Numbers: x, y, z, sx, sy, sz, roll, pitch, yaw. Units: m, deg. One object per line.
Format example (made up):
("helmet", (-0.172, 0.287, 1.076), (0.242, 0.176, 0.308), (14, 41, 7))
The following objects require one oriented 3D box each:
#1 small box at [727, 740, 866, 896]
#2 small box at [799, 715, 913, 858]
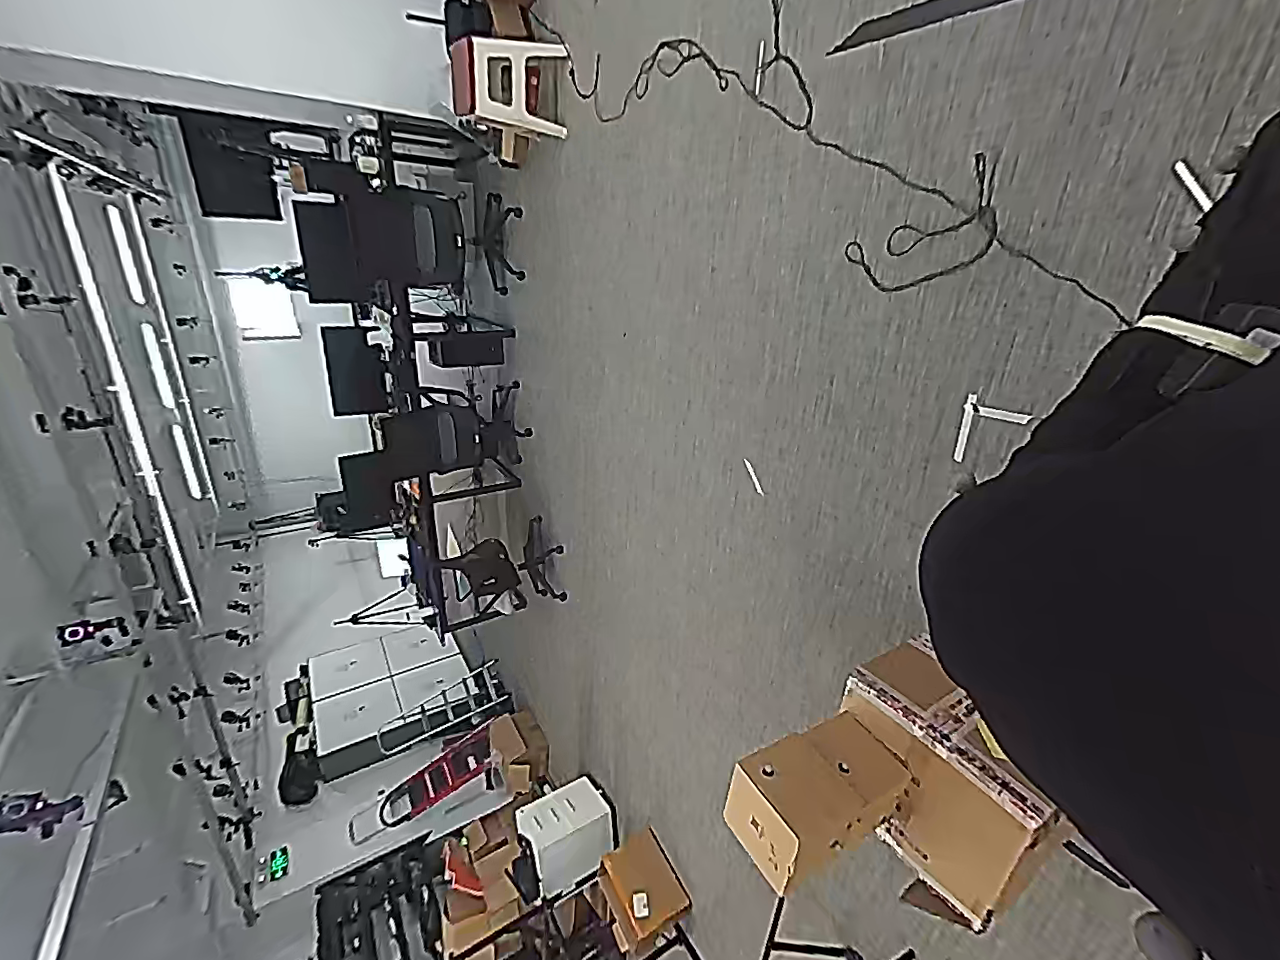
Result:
("small box", (0.299, 0.639, 1.051), (0.179, 0.176, 0.168), (39, 130, 50))
("small box", (0.437, 0.638, 1.145), (0.179, 0.176, 0.168), (43, 133, 49))
